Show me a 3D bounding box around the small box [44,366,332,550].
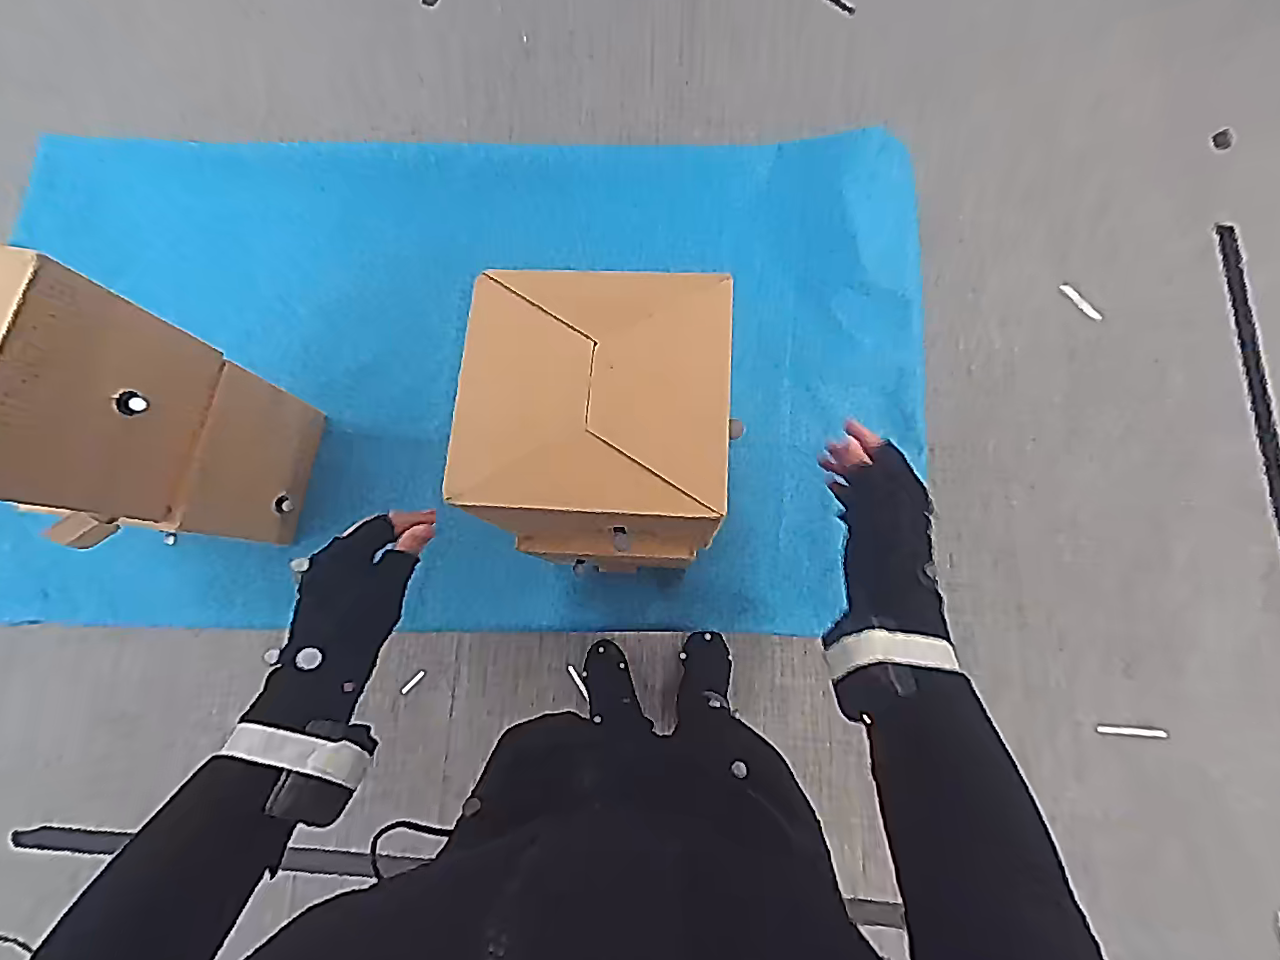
[{"bbox_3d":[-0.493,-0.024,0.610,0.168,0.176,0.179,7,78,3],"label":"small box"}]

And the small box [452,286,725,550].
[{"bbox_3d":[-0.024,-0.037,0.431,0.179,0.176,0.168,3,76,5],"label":"small box"}]

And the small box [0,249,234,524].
[{"bbox_3d":[-0.505,-0.071,0.452,0.168,0.176,0.179,11,80,4],"label":"small box"}]

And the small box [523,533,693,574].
[{"bbox_3d":[-0.024,0.006,0.589,0.168,0.176,0.179,2,77,2],"label":"small box"}]
